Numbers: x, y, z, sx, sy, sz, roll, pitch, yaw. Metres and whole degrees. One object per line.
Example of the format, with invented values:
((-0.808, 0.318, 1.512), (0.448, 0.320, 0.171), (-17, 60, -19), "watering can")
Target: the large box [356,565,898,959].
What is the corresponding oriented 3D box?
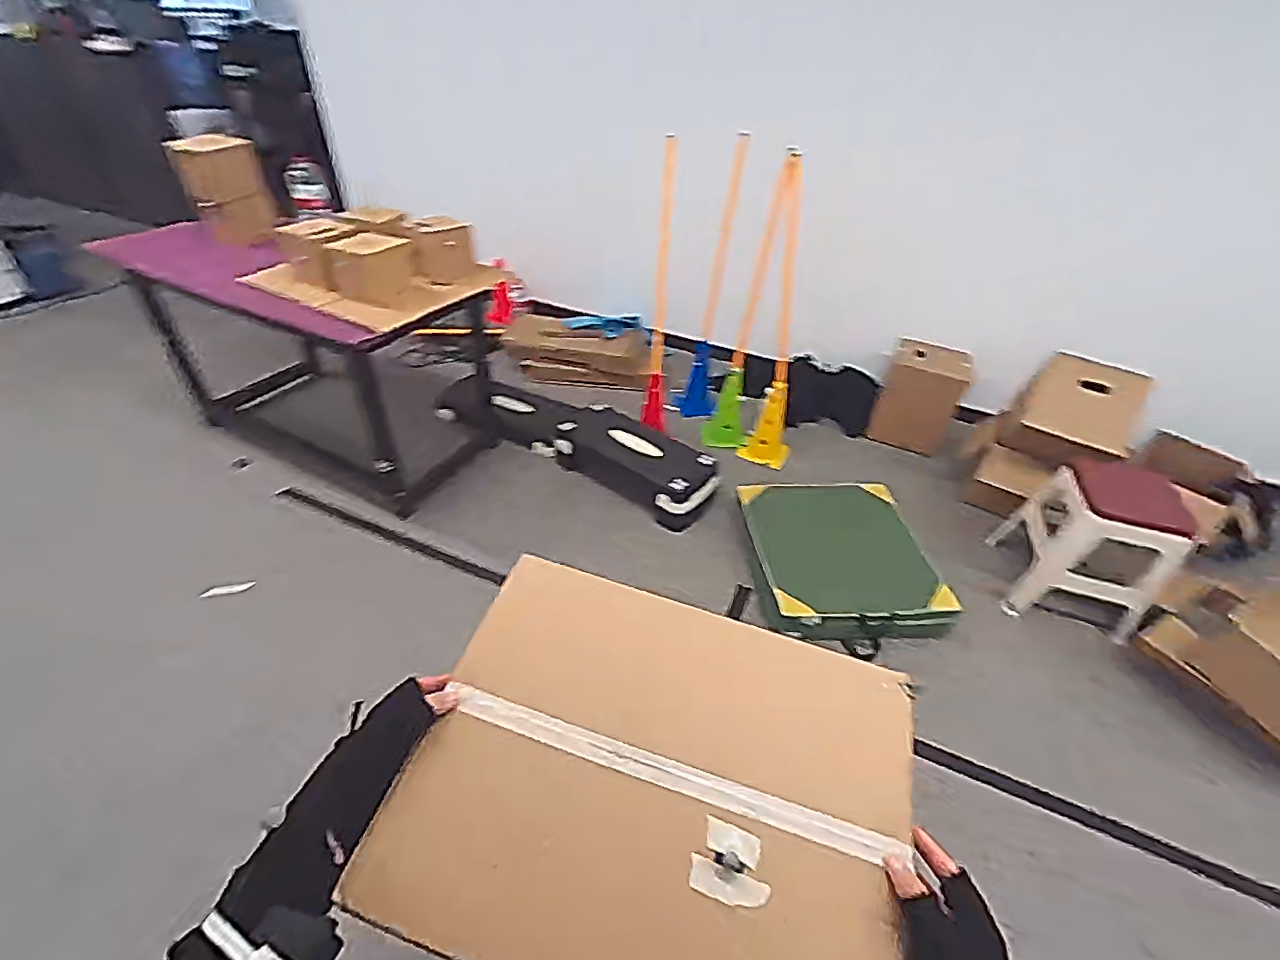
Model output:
((0.007, 0.347, 0.578), (0.408, 0.320, 0.320), (16, 50, 8), "large box")
